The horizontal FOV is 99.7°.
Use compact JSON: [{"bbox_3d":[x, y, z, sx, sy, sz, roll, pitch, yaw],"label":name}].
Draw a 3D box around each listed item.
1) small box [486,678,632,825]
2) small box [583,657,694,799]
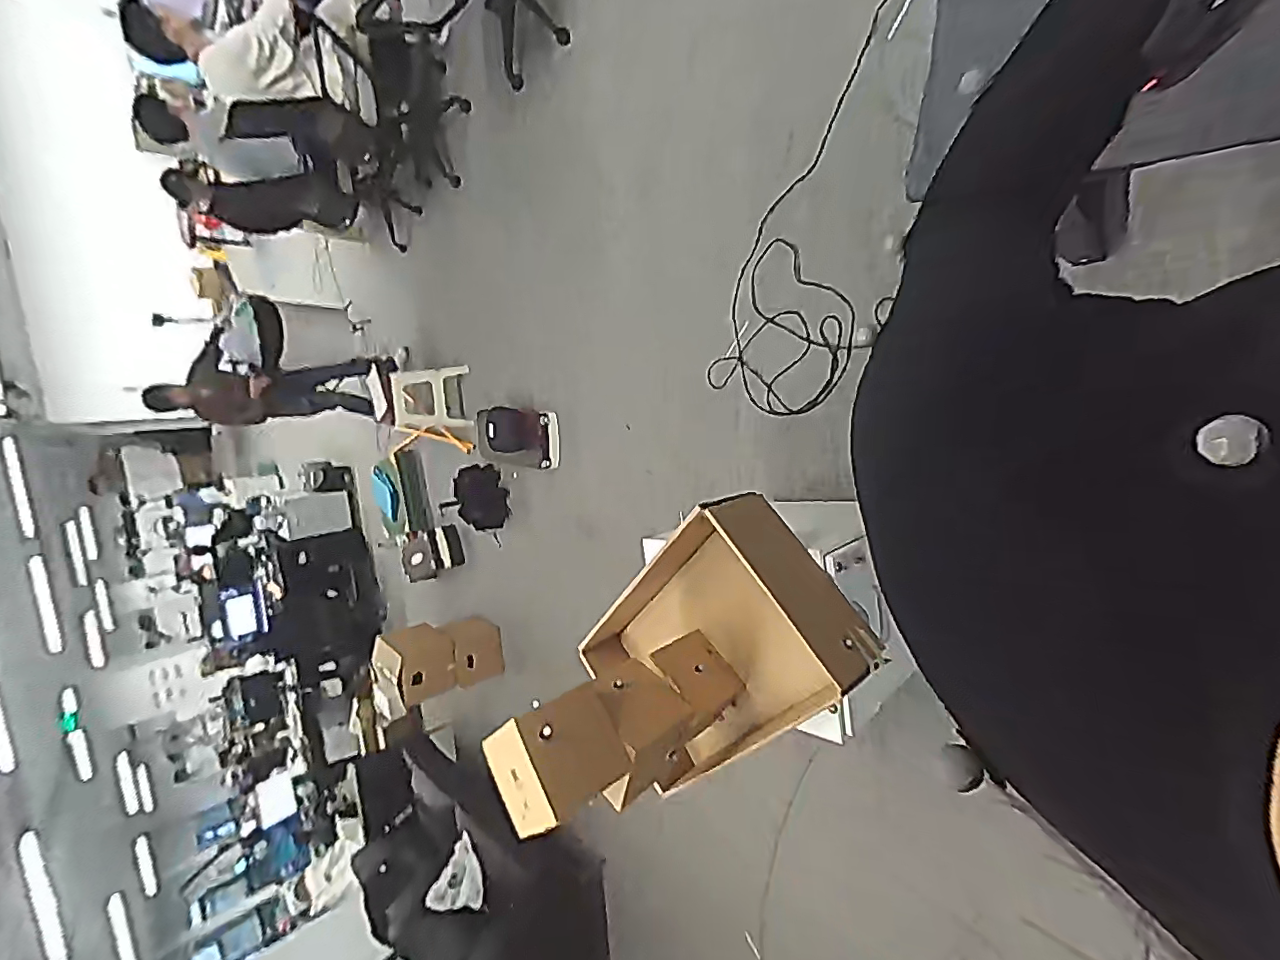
[{"bbox_3d":[-0.148,0.485,0.988,0.168,0.176,0.179,-48,65,41],"label":"small box"},{"bbox_3d":[-0.021,0.486,1.097,0.179,0.176,0.168,31,120,36],"label":"small box"}]
